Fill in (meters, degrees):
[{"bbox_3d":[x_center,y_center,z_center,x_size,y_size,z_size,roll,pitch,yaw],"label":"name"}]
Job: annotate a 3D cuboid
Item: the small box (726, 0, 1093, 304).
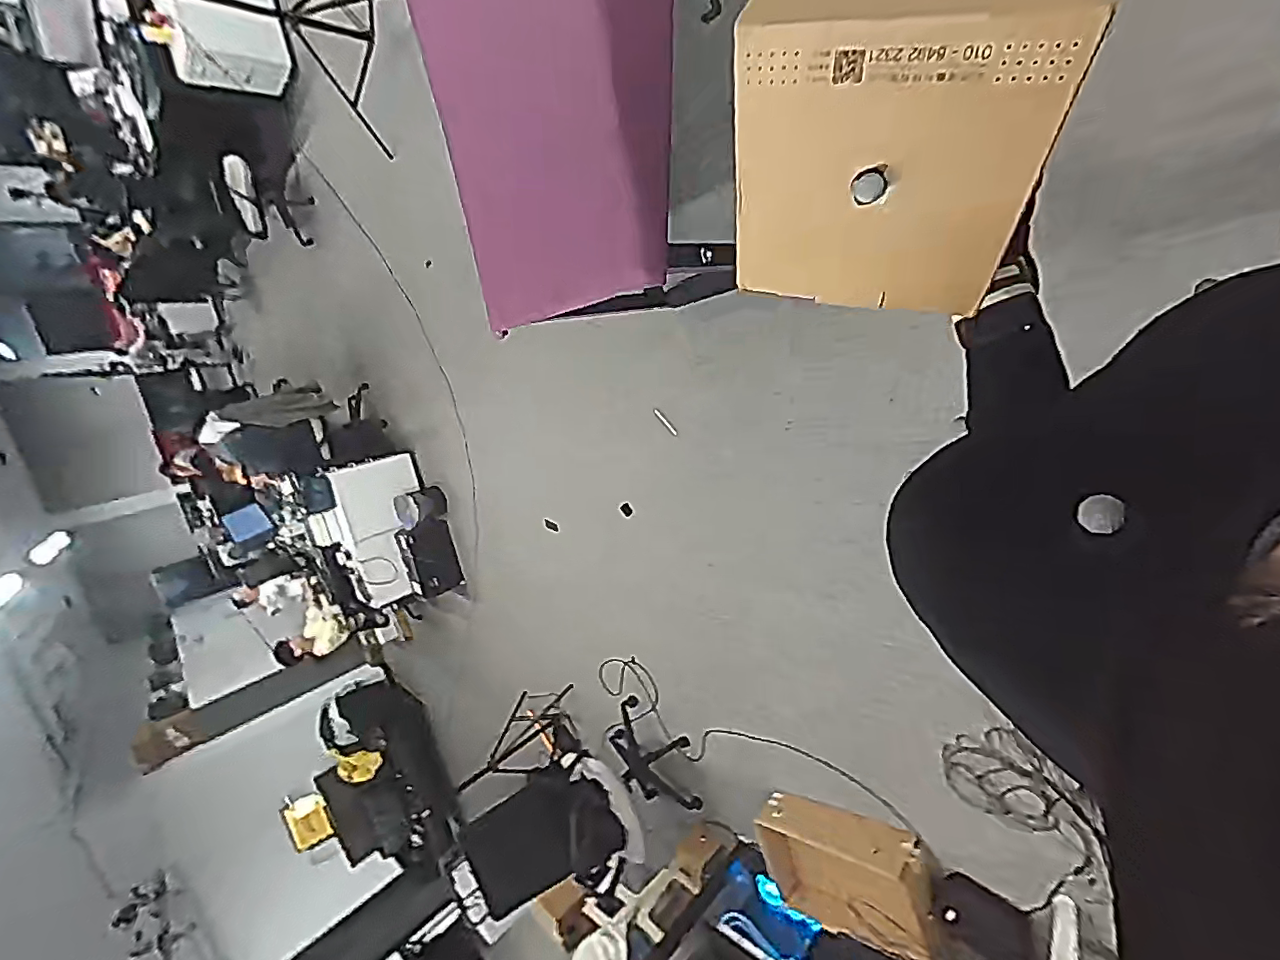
[{"bbox_3d":[0.158,-0.243,0.343,0.168,0.179,0.176,15,151,20],"label":"small box"}]
